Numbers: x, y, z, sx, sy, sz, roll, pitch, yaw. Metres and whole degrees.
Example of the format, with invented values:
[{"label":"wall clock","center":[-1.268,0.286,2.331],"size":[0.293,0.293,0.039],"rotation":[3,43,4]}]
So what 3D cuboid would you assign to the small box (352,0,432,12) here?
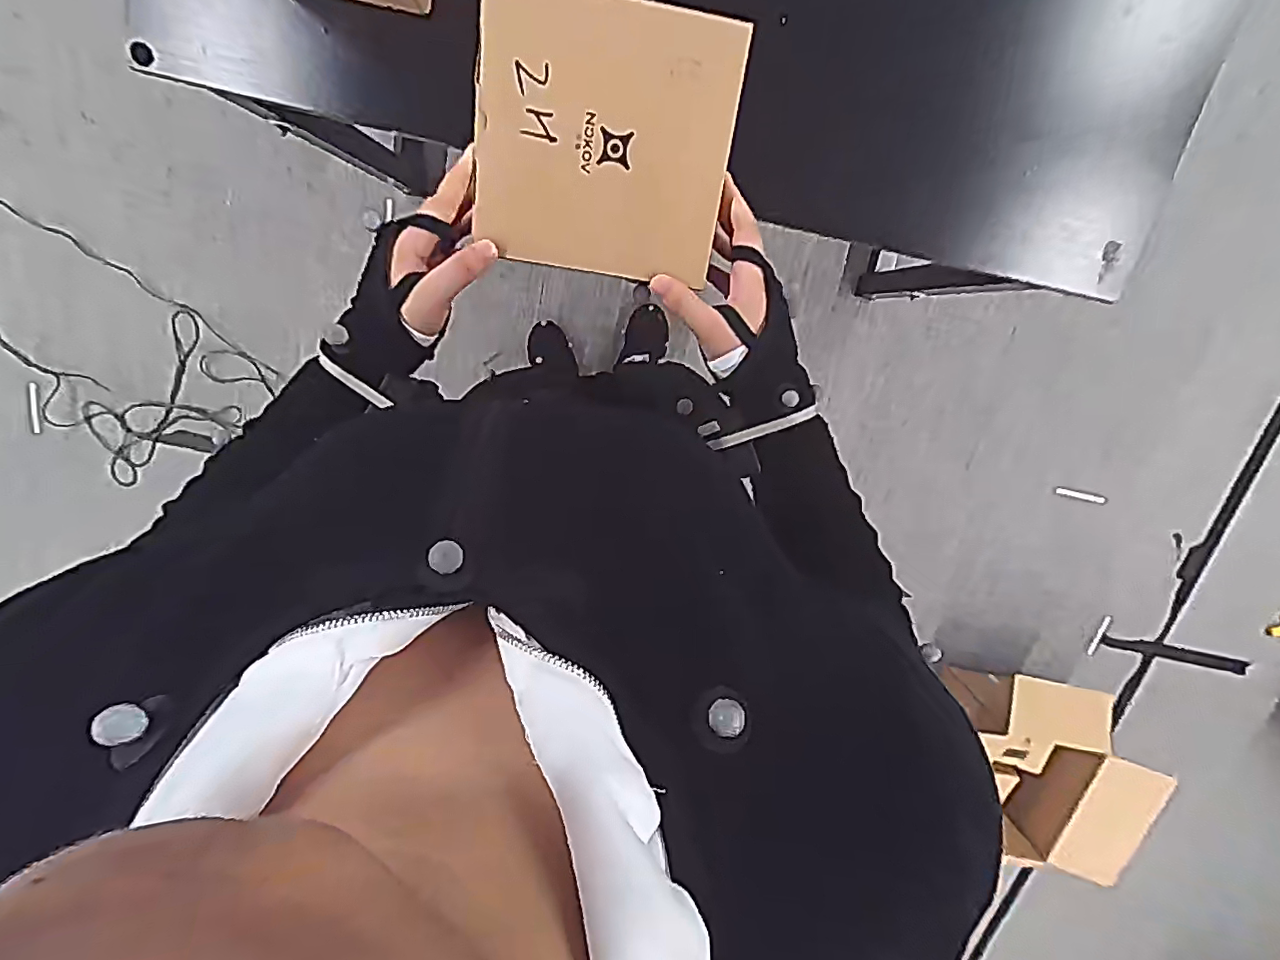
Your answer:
[{"label":"small box","center":[-0.301,-0.574,0.490],"size":[0.179,0.176,0.168],"rotation":[9,107,-4]}]

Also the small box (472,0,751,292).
[{"label":"small box","center":[-0.027,-0.258,0.447],"size":[0.179,0.176,0.168],"rotation":[8,110,-4]}]
